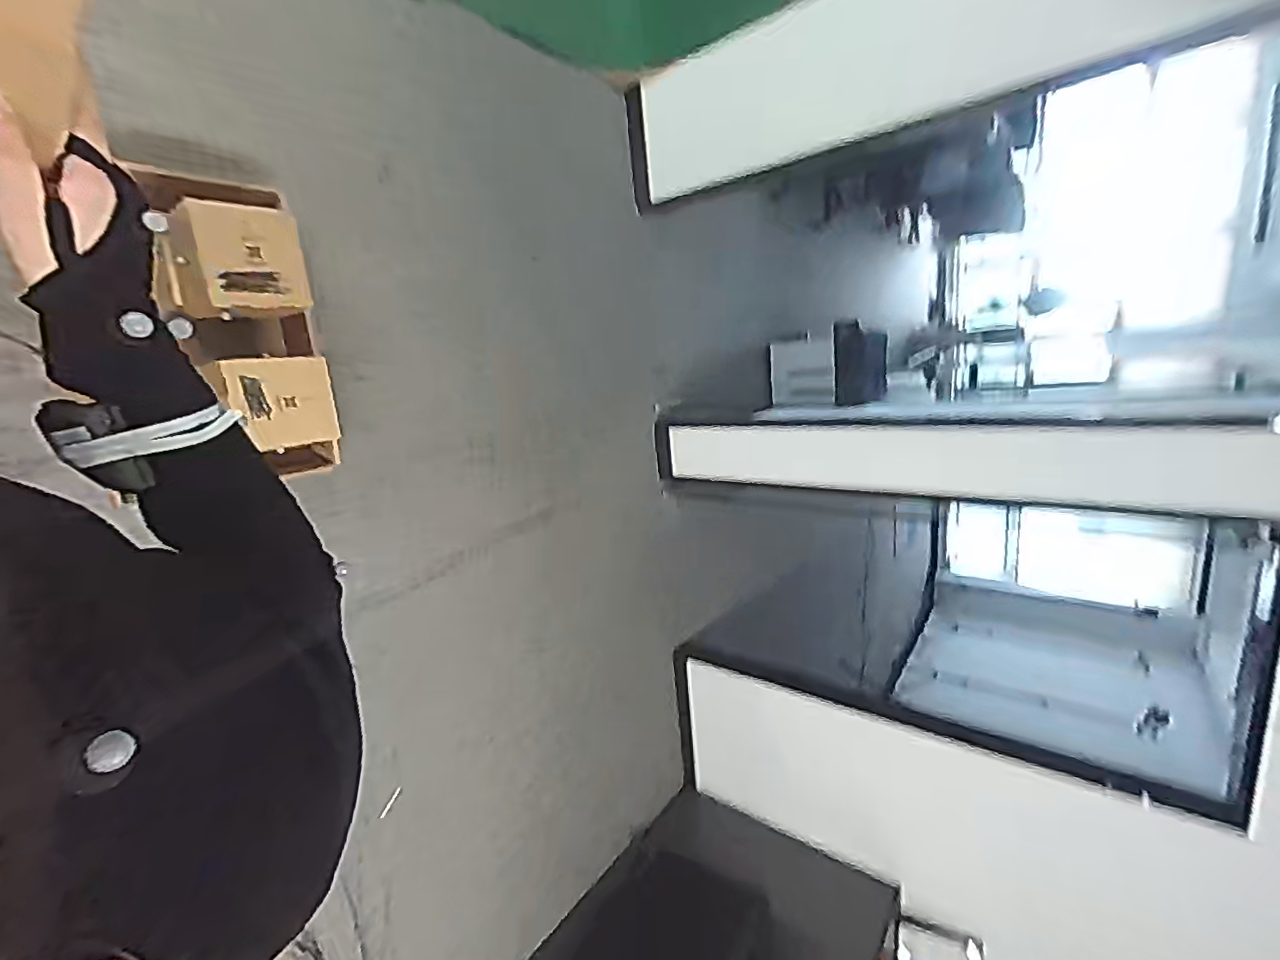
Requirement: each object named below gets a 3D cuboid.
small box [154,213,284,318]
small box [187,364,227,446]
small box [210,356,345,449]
[{"bbox_3d":[-0.878,-0.434,1.126,0.179,0.176,0.168,-13,105,-50],"label":"small box"},{"bbox_3d":[-0.856,-0.166,1.182,0.179,0.176,0.168,-19,108,-48],"label":"small box"},{"bbox_3d":[-0.728,-0.155,1.080,0.179,0.176,0.168,-18,108,-49],"label":"small box"}]
